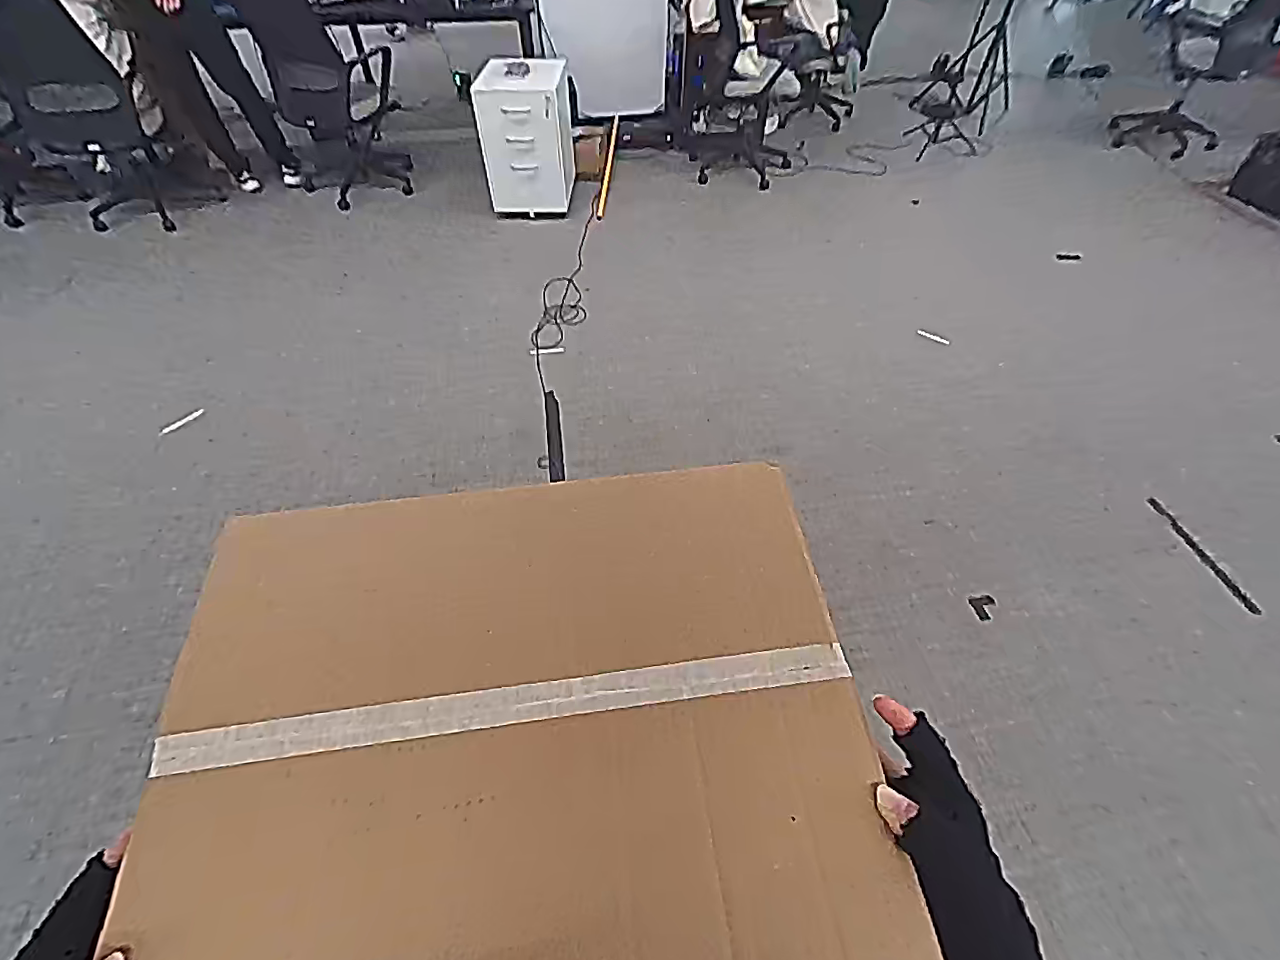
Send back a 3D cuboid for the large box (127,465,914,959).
[{"bbox_3d":[-0.076,0.218,0.465,0.408,0.320,0.320,-6,58,-5],"label":"large box"}]
